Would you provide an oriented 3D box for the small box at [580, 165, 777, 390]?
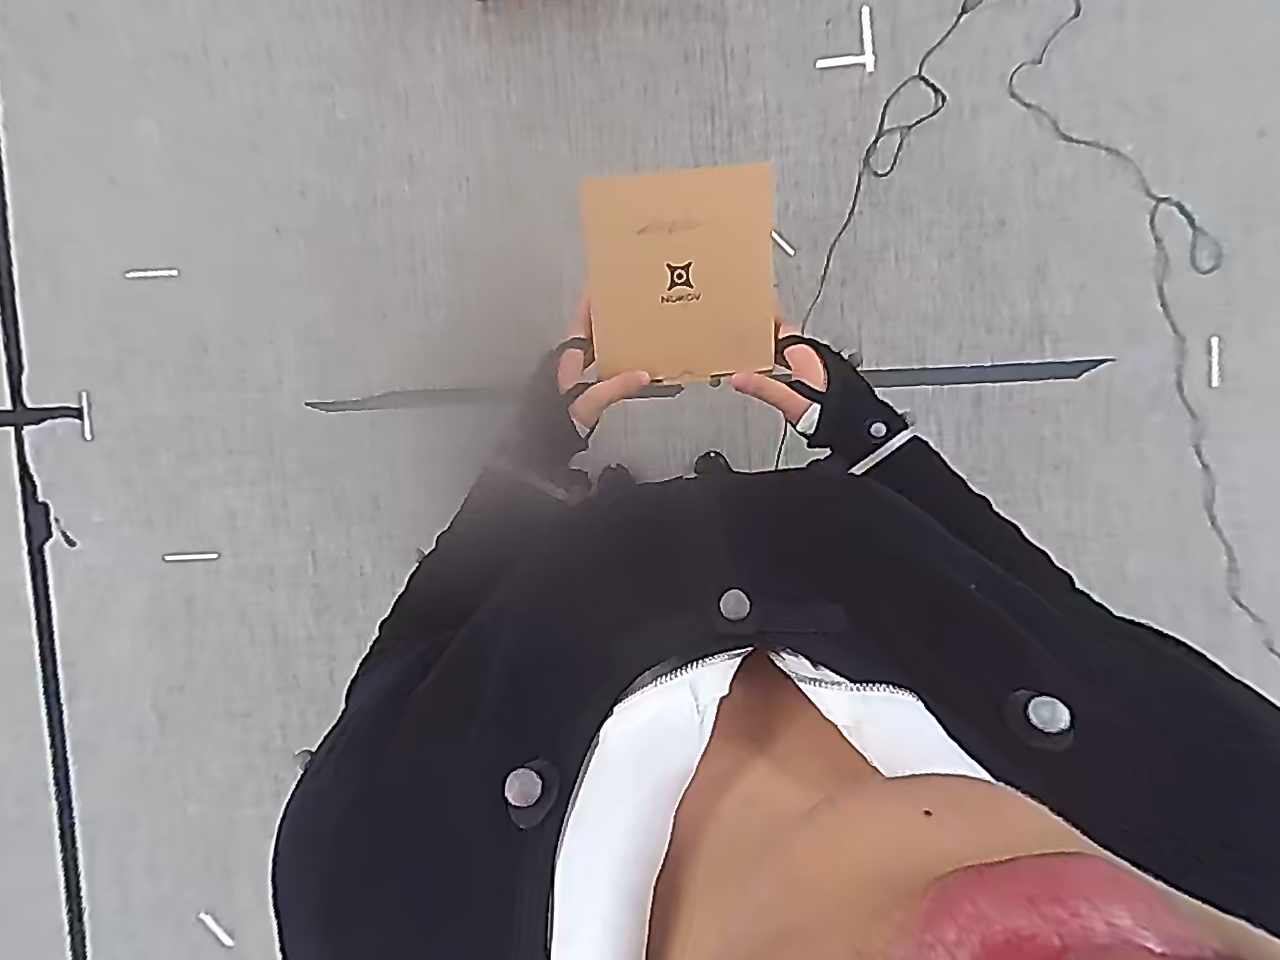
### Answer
[{"bbox_3d":[0.036,-0.192,0.547,0.168,0.176,0.179,-5,104,0],"label":"small box"}]
